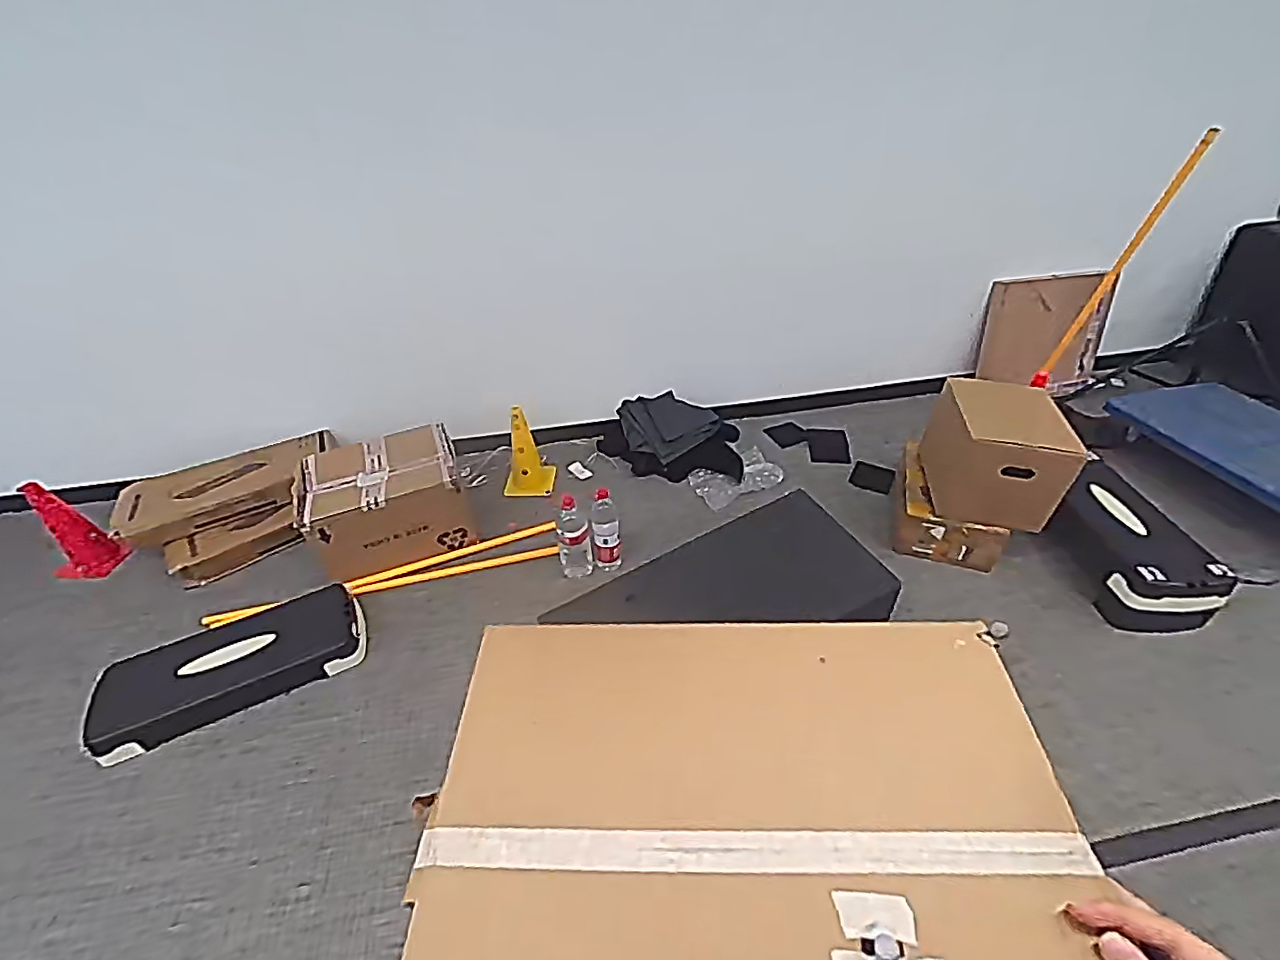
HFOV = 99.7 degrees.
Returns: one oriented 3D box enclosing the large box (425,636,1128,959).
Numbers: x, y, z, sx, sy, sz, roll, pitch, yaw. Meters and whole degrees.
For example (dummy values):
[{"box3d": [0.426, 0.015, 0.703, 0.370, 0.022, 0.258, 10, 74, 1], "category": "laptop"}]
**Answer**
[{"box3d": [0.078, 0.346, 0.443, 0.408, 0.320, 0.320, -1, 46, 3], "category": "large box"}]
